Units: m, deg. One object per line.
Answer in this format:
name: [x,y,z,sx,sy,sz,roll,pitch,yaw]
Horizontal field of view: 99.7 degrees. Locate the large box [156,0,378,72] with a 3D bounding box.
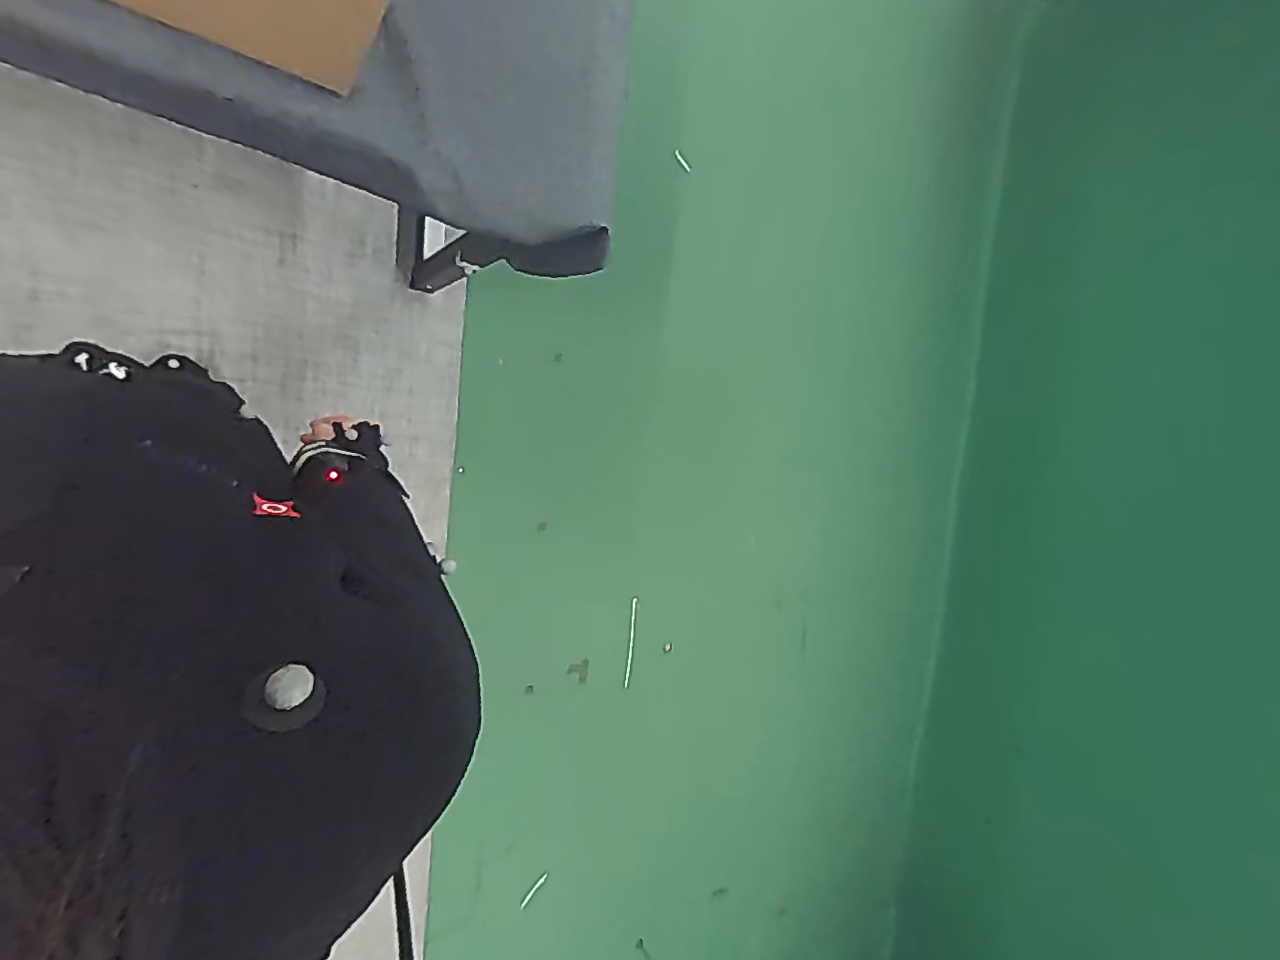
large box: [-0.358,-0.549,0.310,0.408,0.320,0.320,-1,97,-40]
